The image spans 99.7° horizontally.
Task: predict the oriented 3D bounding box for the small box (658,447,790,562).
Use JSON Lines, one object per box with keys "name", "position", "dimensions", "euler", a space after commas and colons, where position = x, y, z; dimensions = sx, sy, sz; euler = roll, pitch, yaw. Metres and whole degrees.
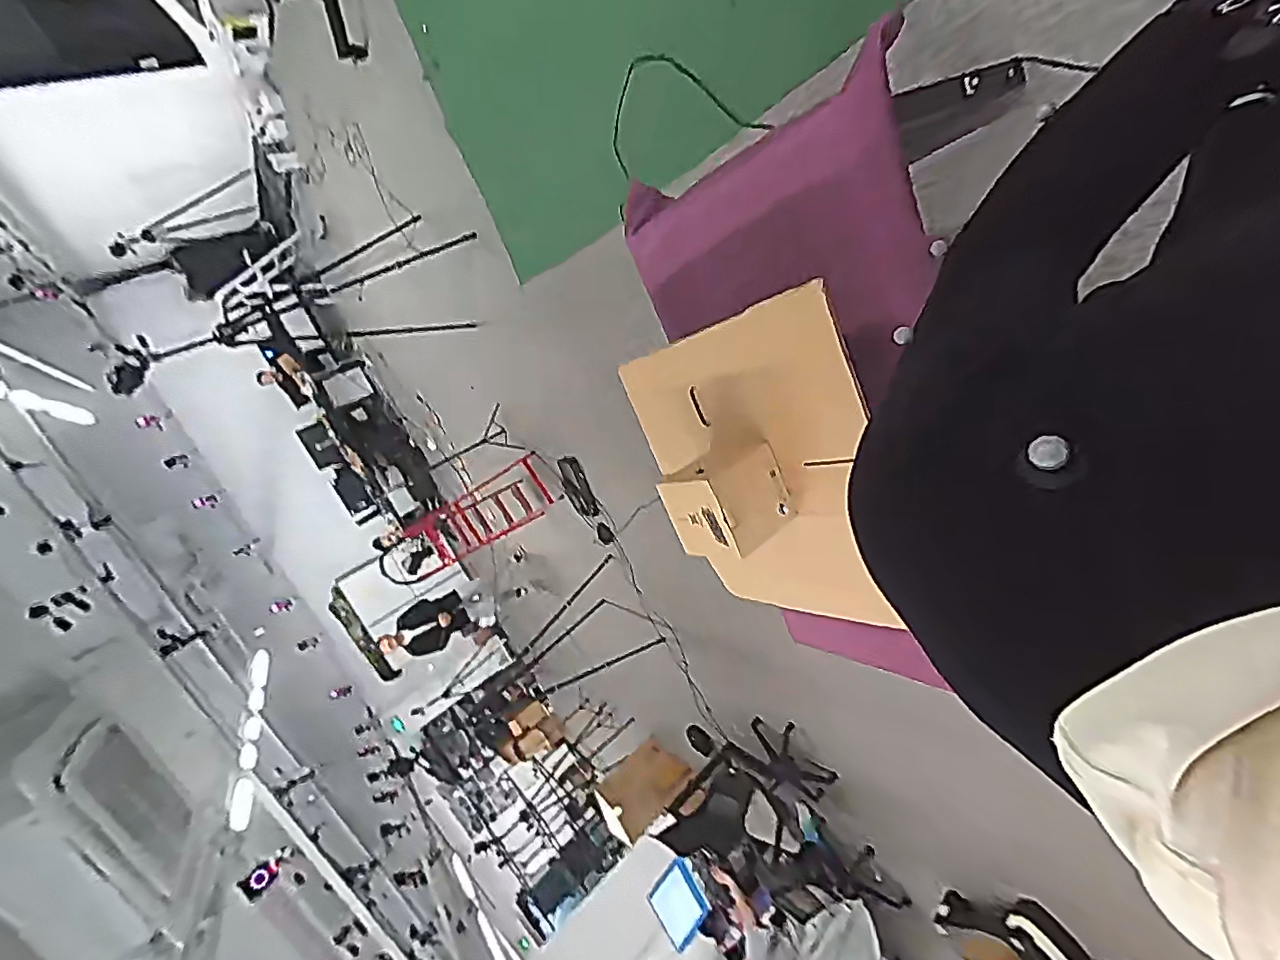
{"name": "small box", "position": [0.172, 0.044, 1.071], "dimensions": [0.179, 0.176, 0.168], "euler": [-5, 112, 59]}
